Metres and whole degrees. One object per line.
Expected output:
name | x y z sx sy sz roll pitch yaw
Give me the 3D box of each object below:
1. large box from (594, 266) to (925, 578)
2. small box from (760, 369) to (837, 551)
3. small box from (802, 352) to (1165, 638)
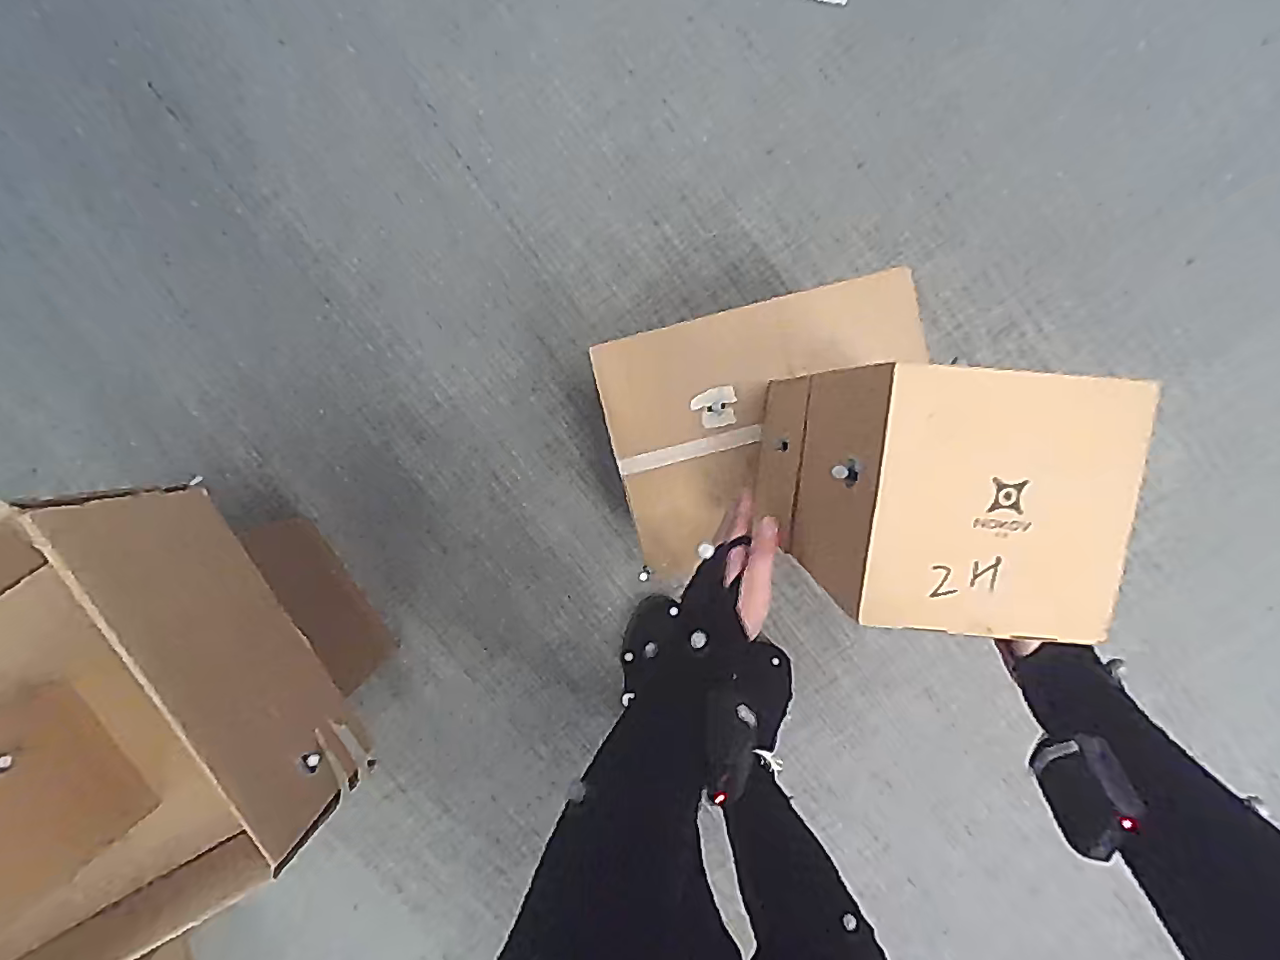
large box | 0.175 -0.085 0.829 0.408 0.320 0.320 -14 96 3
small box | 0.235 -0.021 0.590 0.168 0.176 0.179 6 99 0
small box | 0.237 0.001 0.424 0.168 0.176 0.179 5 99 1
